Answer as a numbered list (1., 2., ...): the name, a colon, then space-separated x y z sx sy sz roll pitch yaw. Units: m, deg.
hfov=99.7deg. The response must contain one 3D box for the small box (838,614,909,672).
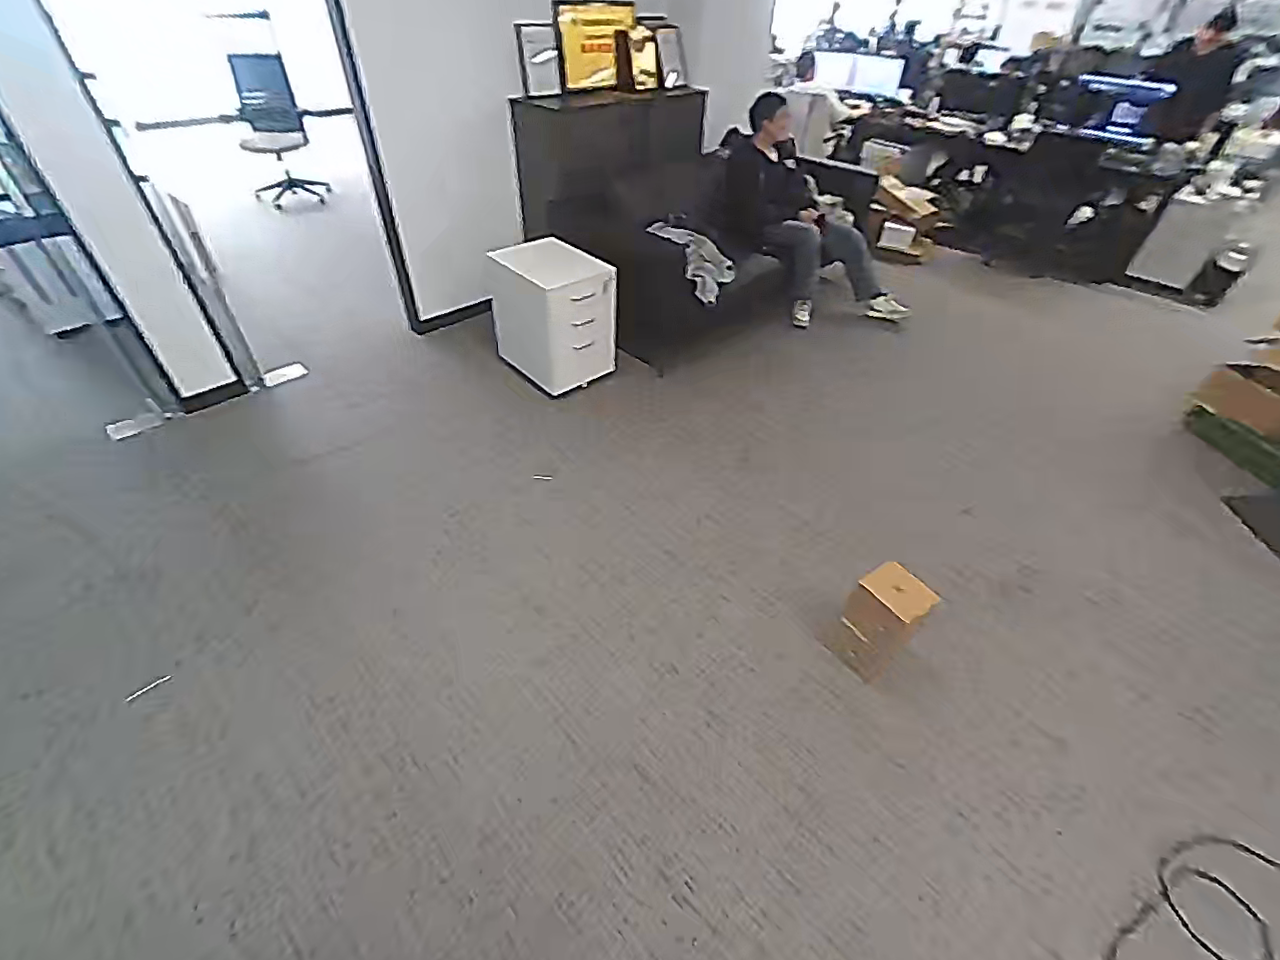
1. small box: 0.747 0.486 1.733 0.179 0.176 0.168 16 42 16

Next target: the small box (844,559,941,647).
1. small box: 0.750 0.375 1.624 0.168 0.176 0.179 -20 46 -26
